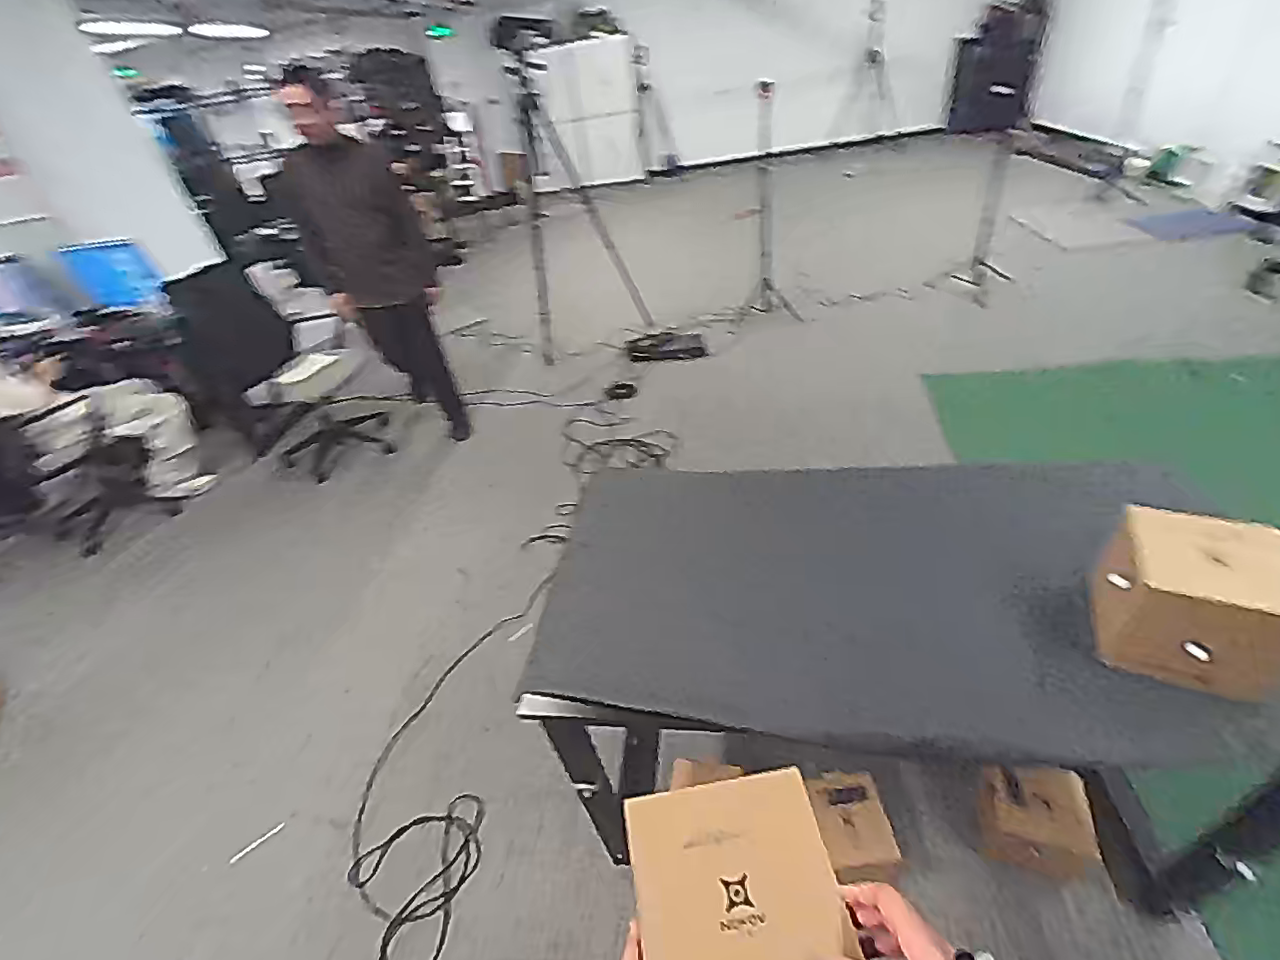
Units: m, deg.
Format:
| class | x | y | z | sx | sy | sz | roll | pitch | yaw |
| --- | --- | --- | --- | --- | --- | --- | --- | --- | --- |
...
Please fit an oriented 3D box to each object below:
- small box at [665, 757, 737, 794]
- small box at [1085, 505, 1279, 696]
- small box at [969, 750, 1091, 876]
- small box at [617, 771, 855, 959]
| class | x | y | z | sx | sy | sz | roll | pitch | yaw |
| --- | --- | --- | --- | --- | --- | --- | --- | --- | --- |
| small box | 0.150 | 0.799 | 1.297 | 0.168 | 0.176 | 0.179 | 0 | 38 | 14 |
| small box | 0.753 | 0.165 | 0.754 | 0.168 | 0.176 | 0.179 | 12 | 41 | 27 |
| small box | 0.847 | 0.739 | 1.198 | 0.179 | 0.176 | 0.168 | 7 | 42 | 20 |
| small box | 0.076 | 0.393 | 0.480 | 0.168 | 0.176 | 0.179 | -8 | 42 | -6 |
